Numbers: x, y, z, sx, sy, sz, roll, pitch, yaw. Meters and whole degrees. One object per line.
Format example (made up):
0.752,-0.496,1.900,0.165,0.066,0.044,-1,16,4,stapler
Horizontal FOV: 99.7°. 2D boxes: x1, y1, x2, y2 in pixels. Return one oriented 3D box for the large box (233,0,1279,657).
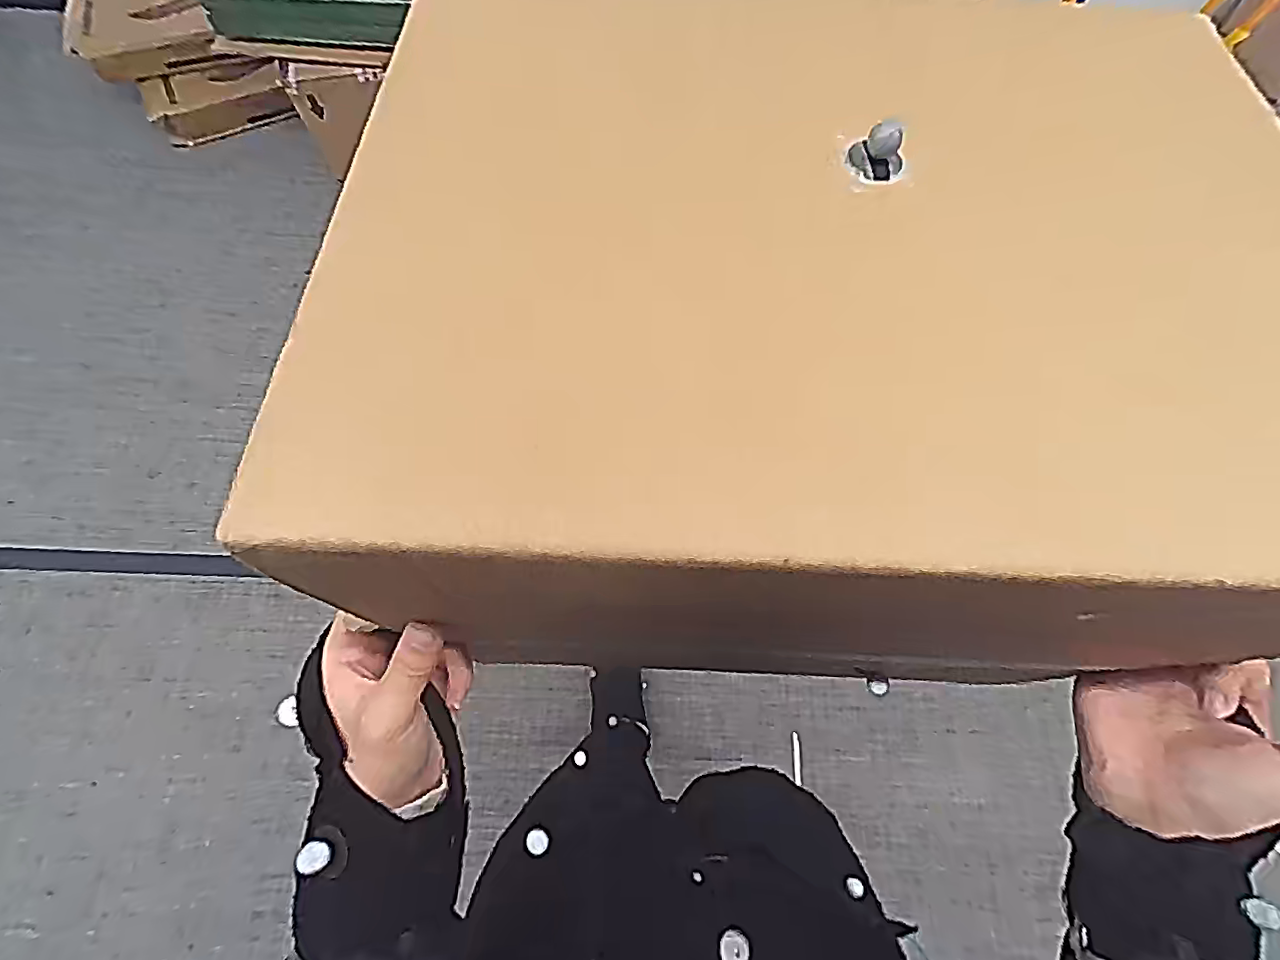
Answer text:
0.078,-0.065,0.349,0.408,0.320,0.320,2,67,-1,large box
